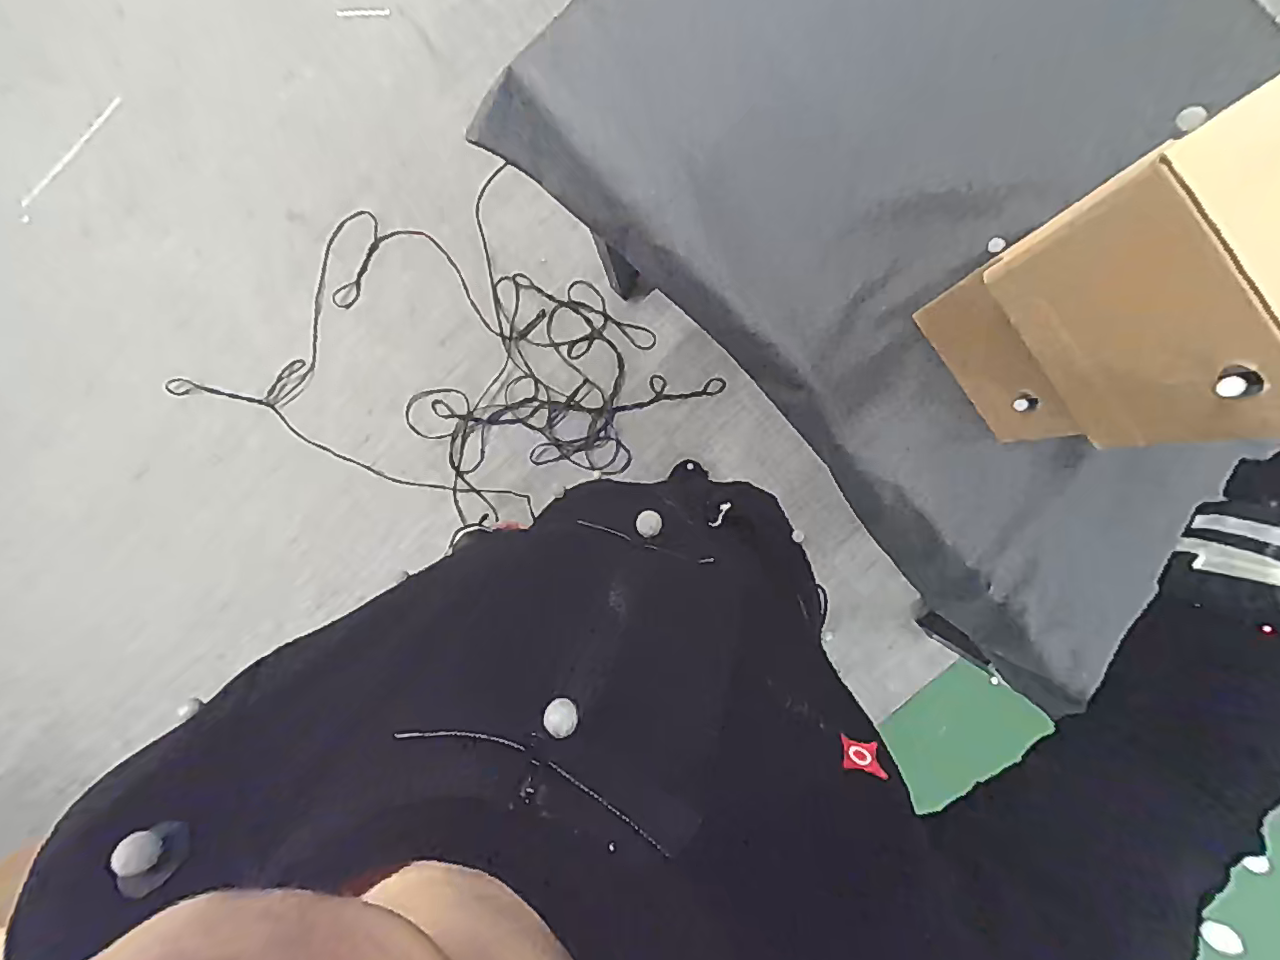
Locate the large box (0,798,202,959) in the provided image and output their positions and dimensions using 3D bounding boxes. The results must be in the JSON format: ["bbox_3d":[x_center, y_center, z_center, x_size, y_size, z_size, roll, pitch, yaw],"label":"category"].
[{"bbox_3d":[-1.424,1.106,1.324,0.320,0.320,0.408,-43,87,3],"label":"large box"}]

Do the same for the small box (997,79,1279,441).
[{"bbox_3d":[0.392,-0.140,0.358,0.168,0.176,0.179,-33,89,2],"label":"small box"}]

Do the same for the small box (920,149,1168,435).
[{"bbox_3d":[0.417,-0.155,0.519,0.168,0.176,0.179,-34,87,2],"label":"small box"}]
